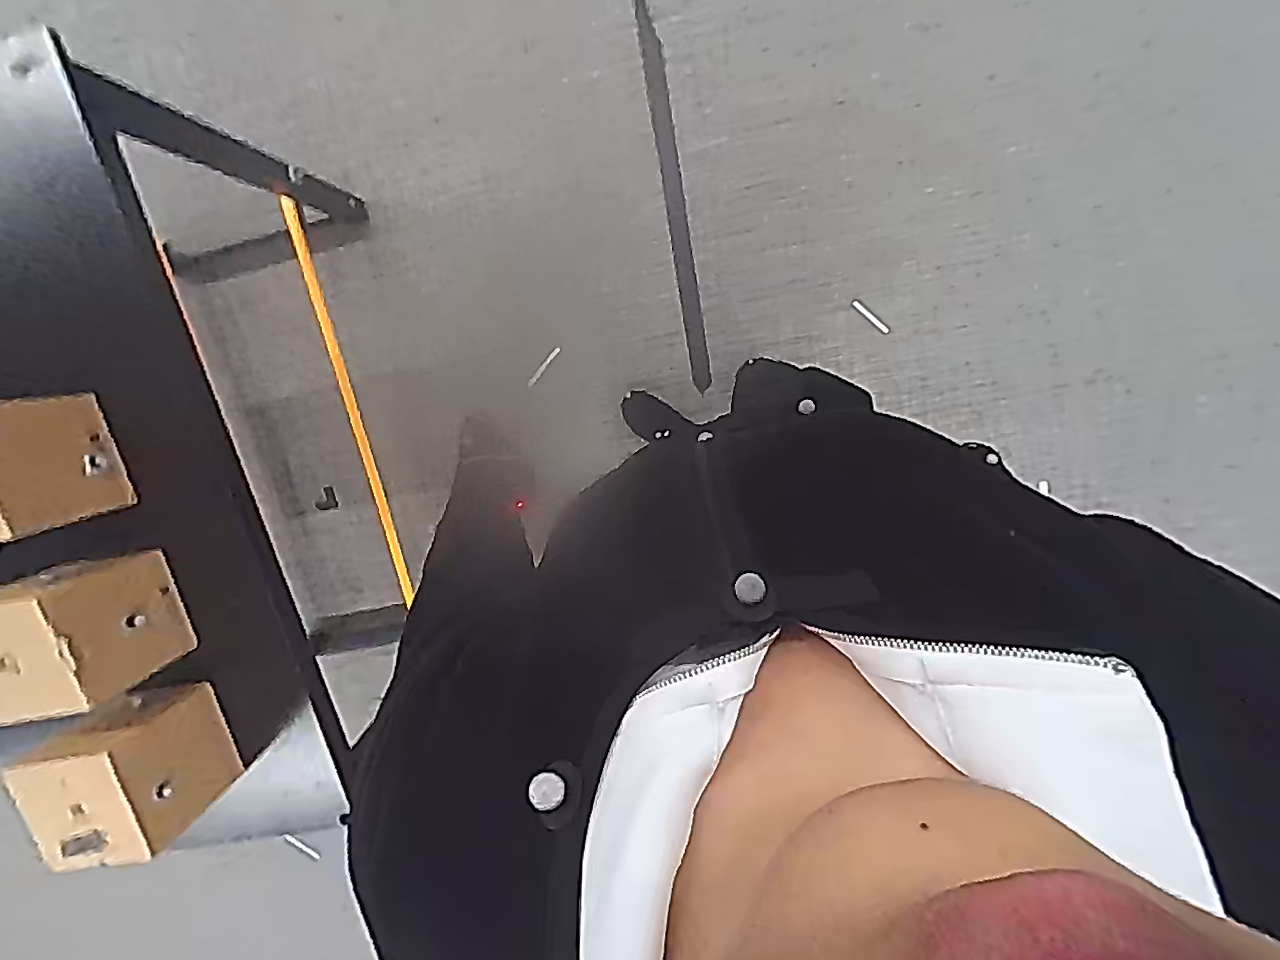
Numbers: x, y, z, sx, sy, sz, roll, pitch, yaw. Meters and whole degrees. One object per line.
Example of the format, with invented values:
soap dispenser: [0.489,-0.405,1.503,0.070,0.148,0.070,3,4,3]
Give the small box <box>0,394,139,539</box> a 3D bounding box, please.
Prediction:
small box: [-0.852,-0.014,0.727,0.179,0.176,0.168,-12,104,5]

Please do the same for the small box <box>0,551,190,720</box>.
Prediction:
small box: [-0.803,0.213,0.777,0.179,0.176,0.168,-10,103,5]

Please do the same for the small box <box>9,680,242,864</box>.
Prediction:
small box: [-0.763,0.438,0.827,0.168,0.176,0.179,-11,102,5]
